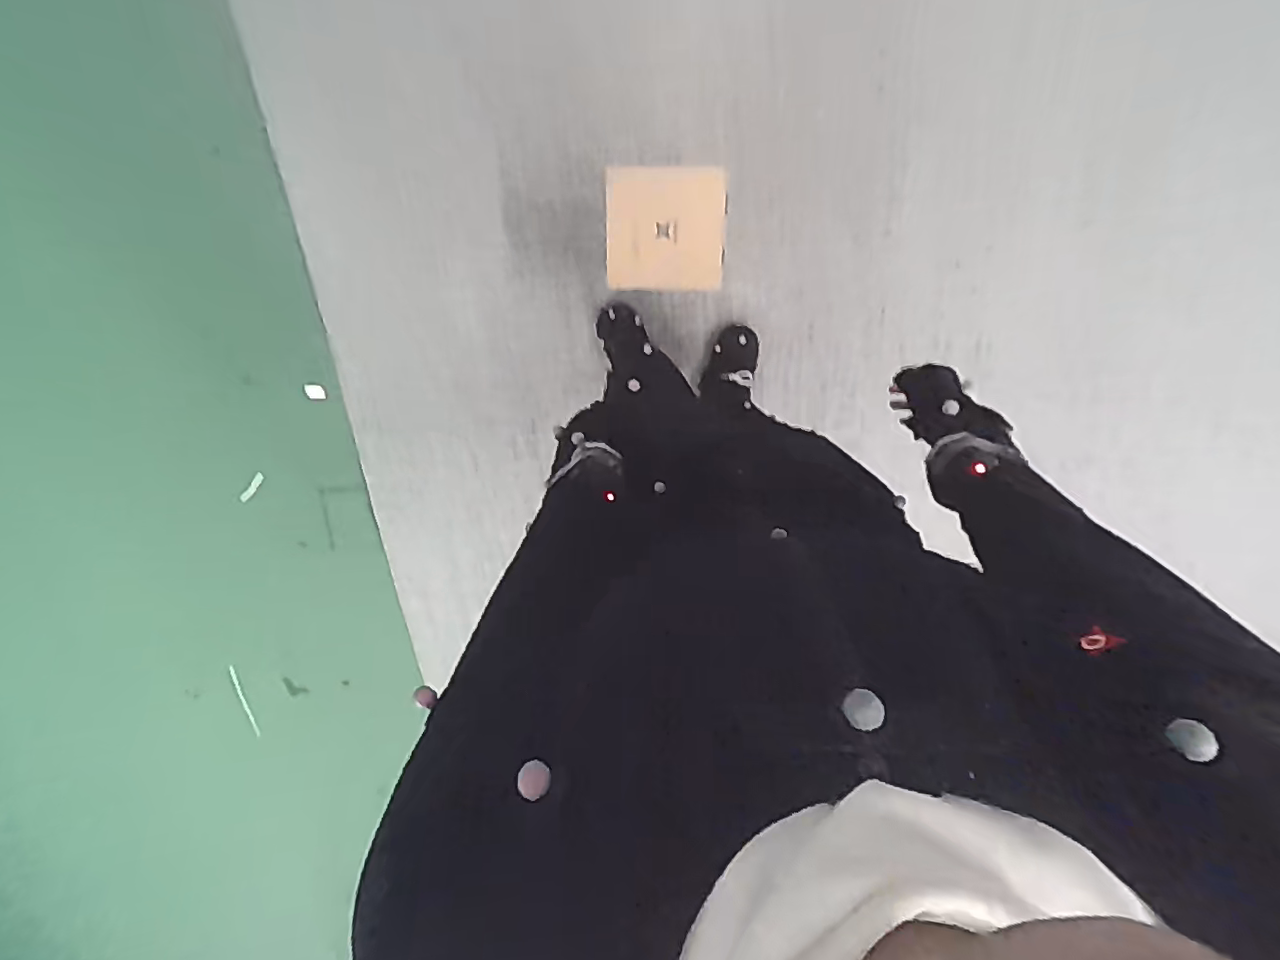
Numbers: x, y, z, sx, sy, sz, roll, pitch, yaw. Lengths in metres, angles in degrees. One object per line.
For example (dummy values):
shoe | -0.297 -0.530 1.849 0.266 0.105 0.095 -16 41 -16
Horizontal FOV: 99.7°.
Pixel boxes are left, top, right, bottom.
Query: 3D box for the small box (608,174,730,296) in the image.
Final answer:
small box | 0.047 -0.386 0.870 0.179 0.176 0.168 2 110 6
